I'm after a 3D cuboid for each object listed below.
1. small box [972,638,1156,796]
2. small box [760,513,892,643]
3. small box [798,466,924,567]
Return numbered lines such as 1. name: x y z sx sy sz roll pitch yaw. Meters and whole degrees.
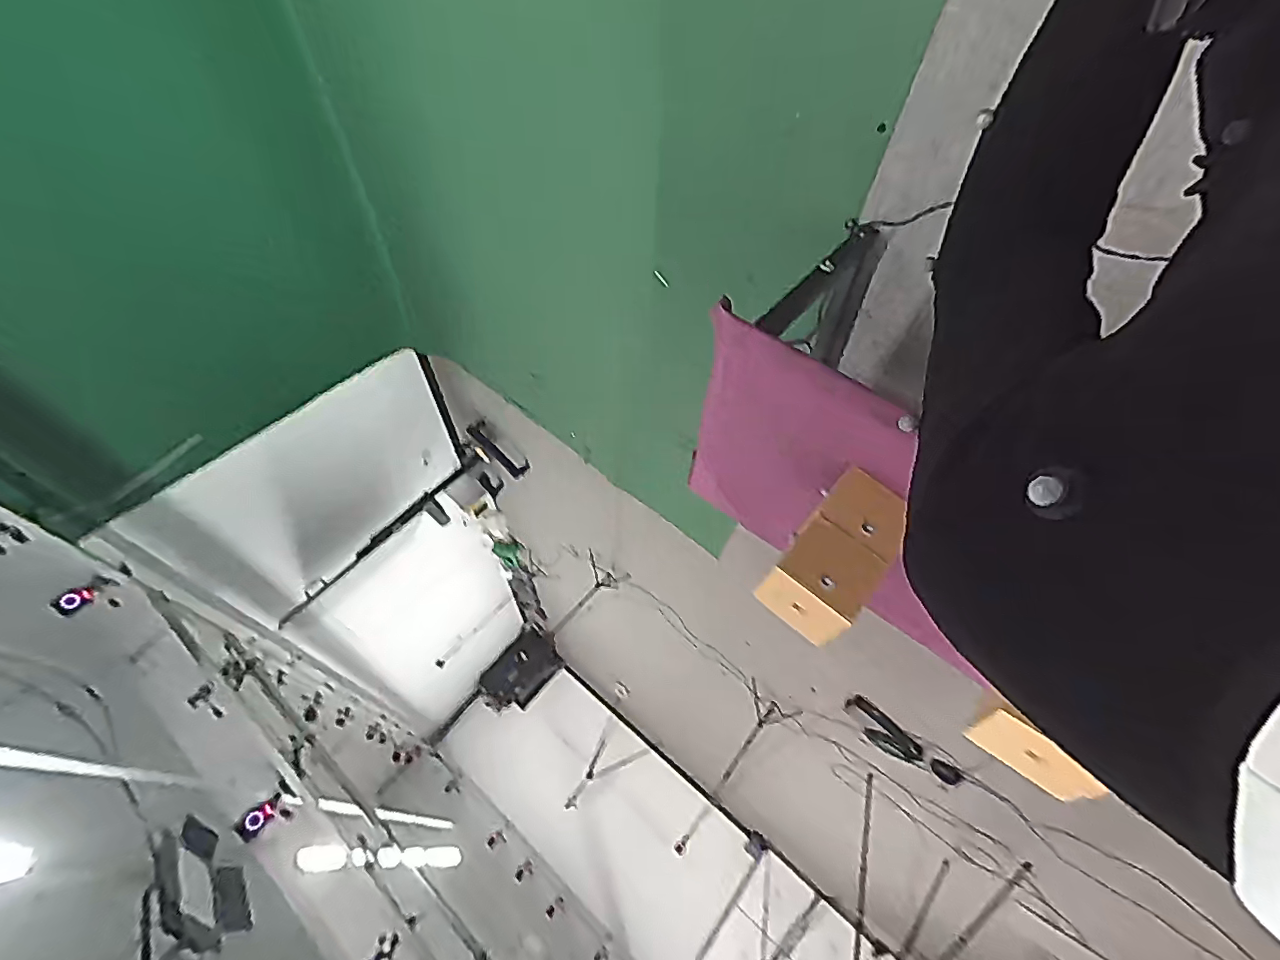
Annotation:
1. small box: 0.721 0.396 0.928 0.179 0.176 0.168 31 151 26
2. small box: 0.389 0.203 1.130 0.179 0.176 0.168 37 151 15
3. small box: 0.492 0.101 1.207 0.179 0.176 0.168 39 152 14
